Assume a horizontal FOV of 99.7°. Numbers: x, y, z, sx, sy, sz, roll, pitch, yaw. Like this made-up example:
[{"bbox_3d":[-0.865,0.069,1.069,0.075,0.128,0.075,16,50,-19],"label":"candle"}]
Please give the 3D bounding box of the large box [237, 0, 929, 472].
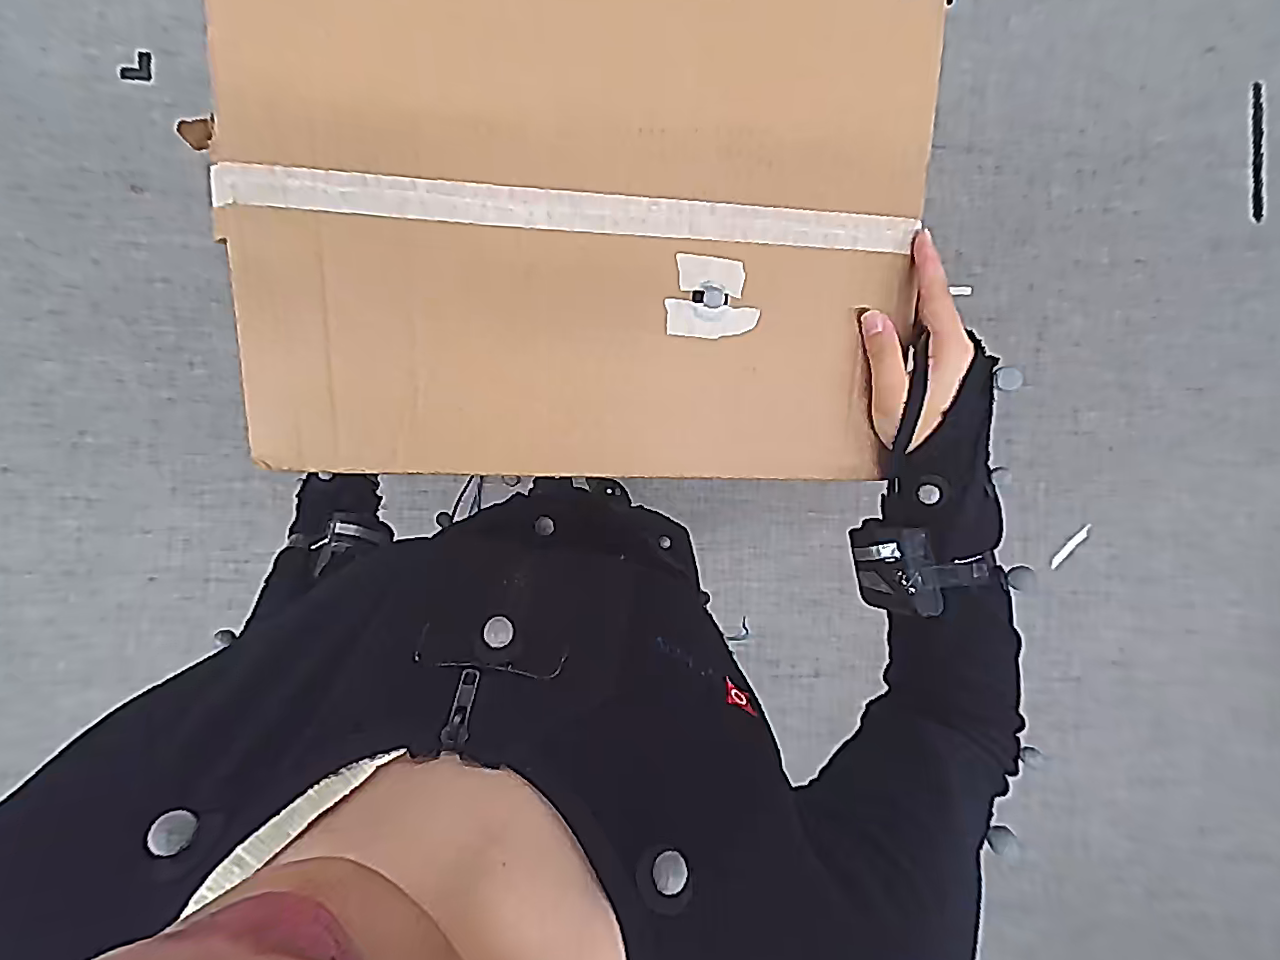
[{"bbox_3d":[-0.042,-0.185,0.474,0.408,0.320,0.320,0,101,-9],"label":"large box"}]
